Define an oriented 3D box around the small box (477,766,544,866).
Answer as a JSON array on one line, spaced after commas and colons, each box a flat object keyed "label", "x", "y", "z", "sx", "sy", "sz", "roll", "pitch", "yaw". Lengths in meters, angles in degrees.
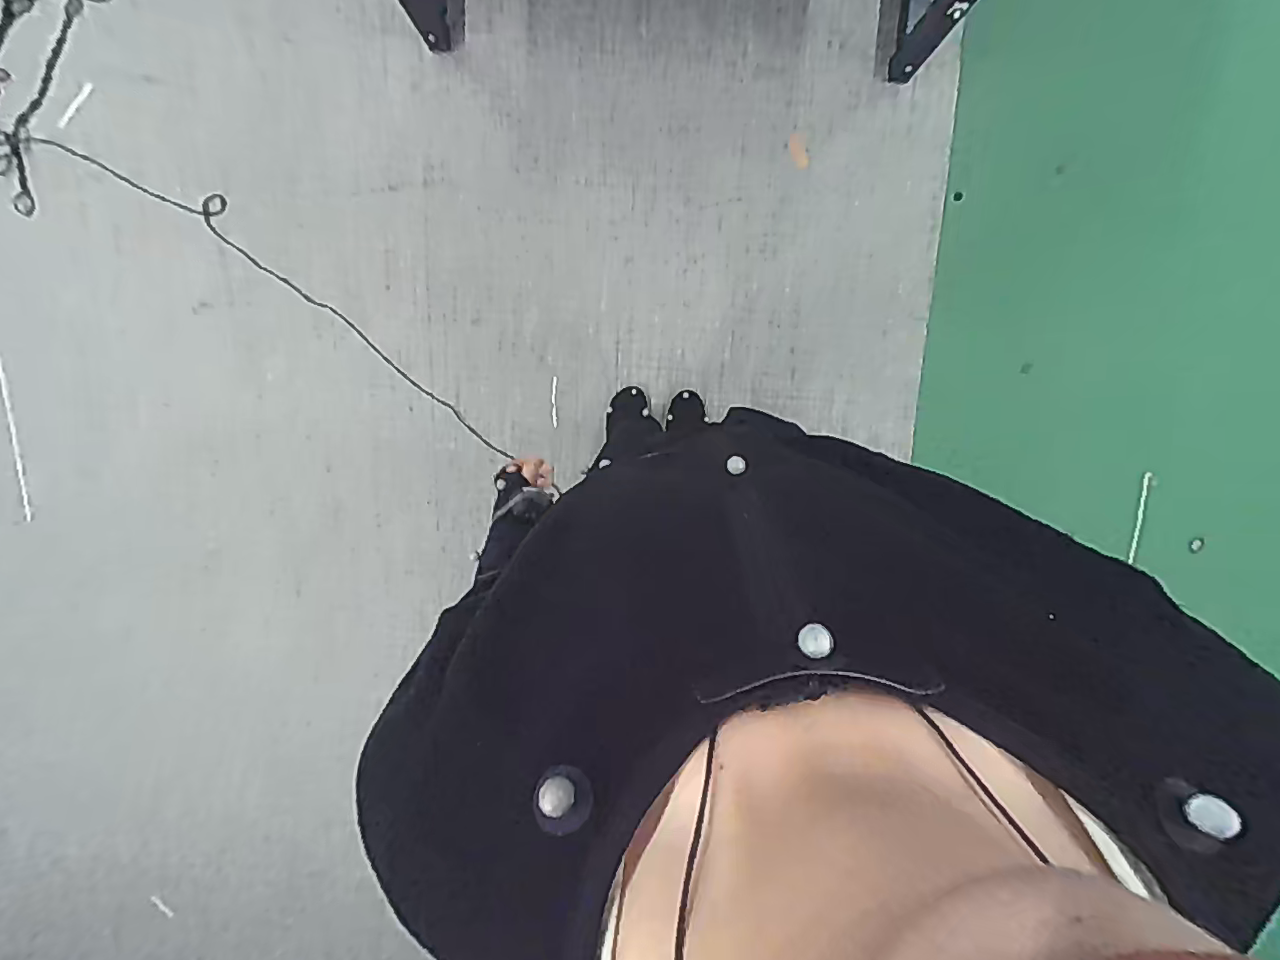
[{"label": "small box", "x": -0.383, "y": 0.970, "z": 1.574, "sx": 0.168, "sy": 0.176, "sz": 0.179, "roll": 10, "pitch": 100, "yaw": 0}]
